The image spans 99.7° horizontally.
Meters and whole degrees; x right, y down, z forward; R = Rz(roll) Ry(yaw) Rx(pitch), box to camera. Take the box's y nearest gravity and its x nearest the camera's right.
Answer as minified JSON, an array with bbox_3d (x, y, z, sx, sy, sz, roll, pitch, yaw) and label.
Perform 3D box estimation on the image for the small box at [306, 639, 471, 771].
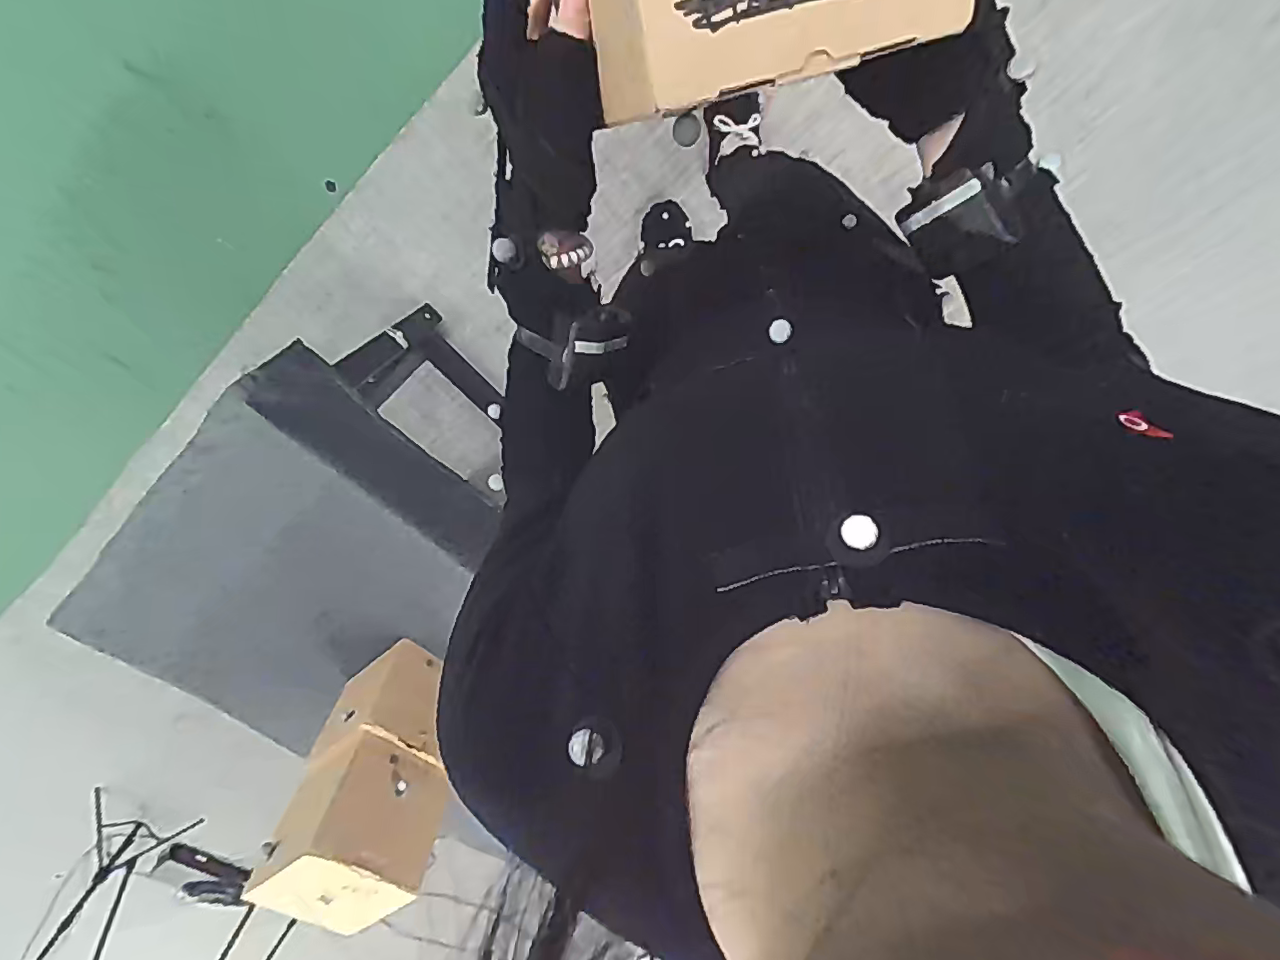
[{"bbox_3d":[-0.411,0.406,0.922,0.179,0.176,0.168,-37,114,20],"label":"small box"}]

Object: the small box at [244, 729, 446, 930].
[{"bbox_3d":[-0.413,0.506,0.790,0.179,0.176,0.168,-39,114,19],"label":"small box"}]
